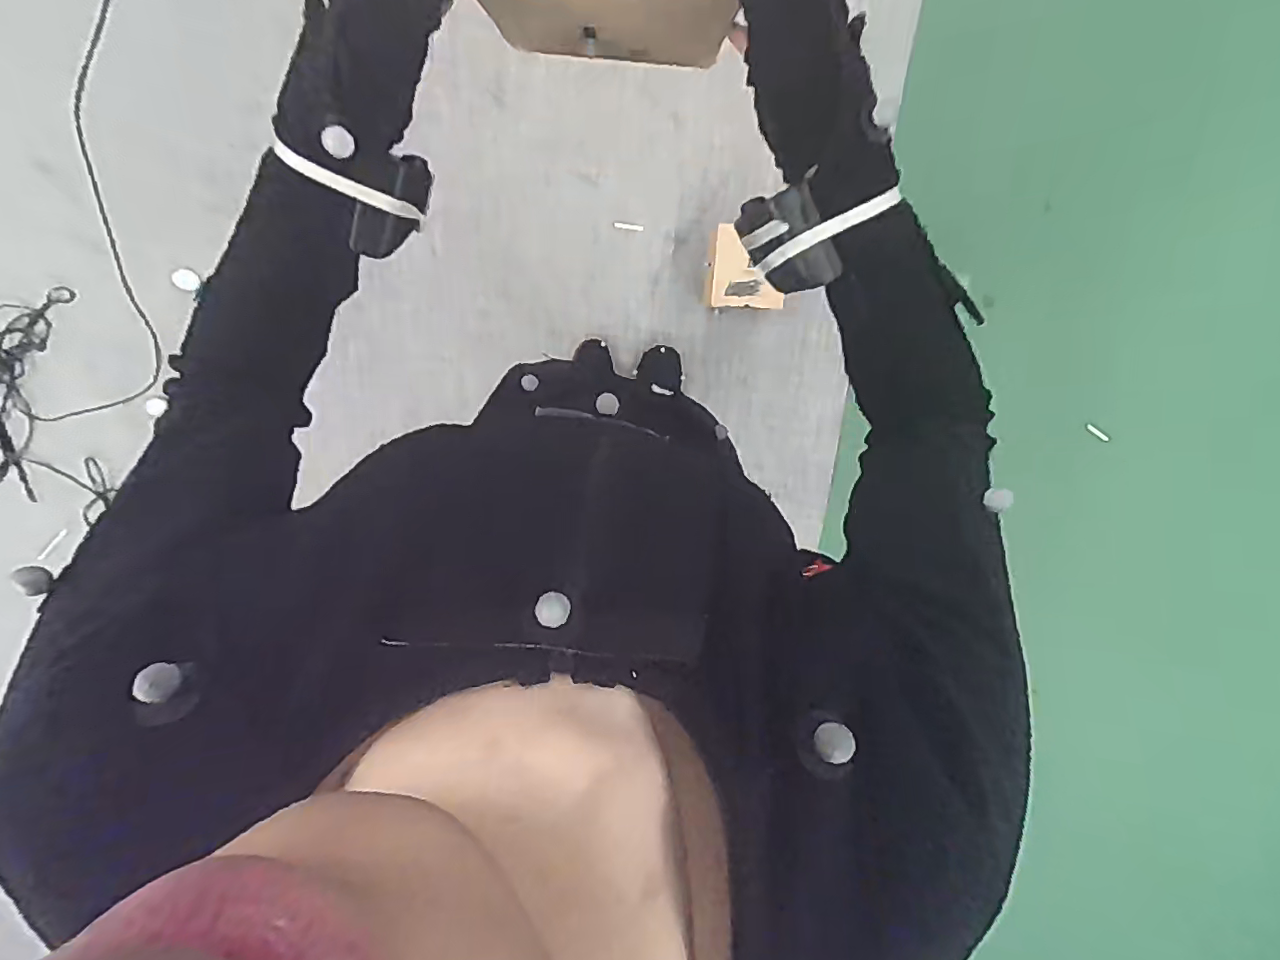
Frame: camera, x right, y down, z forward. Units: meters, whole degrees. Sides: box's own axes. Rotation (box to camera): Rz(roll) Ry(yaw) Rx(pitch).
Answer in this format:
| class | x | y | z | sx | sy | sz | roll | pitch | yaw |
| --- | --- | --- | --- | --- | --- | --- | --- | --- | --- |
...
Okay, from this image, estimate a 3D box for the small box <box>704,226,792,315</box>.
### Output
| class | x | y | z | sx | sy | sz | roll | pitch | yaw |
| --- | --- | --- | --- | --- | --- | --- | --- | --- | --- |
| small box | 0.245 | -0.483 | 1.270 | 0.168 | 0.176 | 0.179 | 3 | 106 | -1 |
